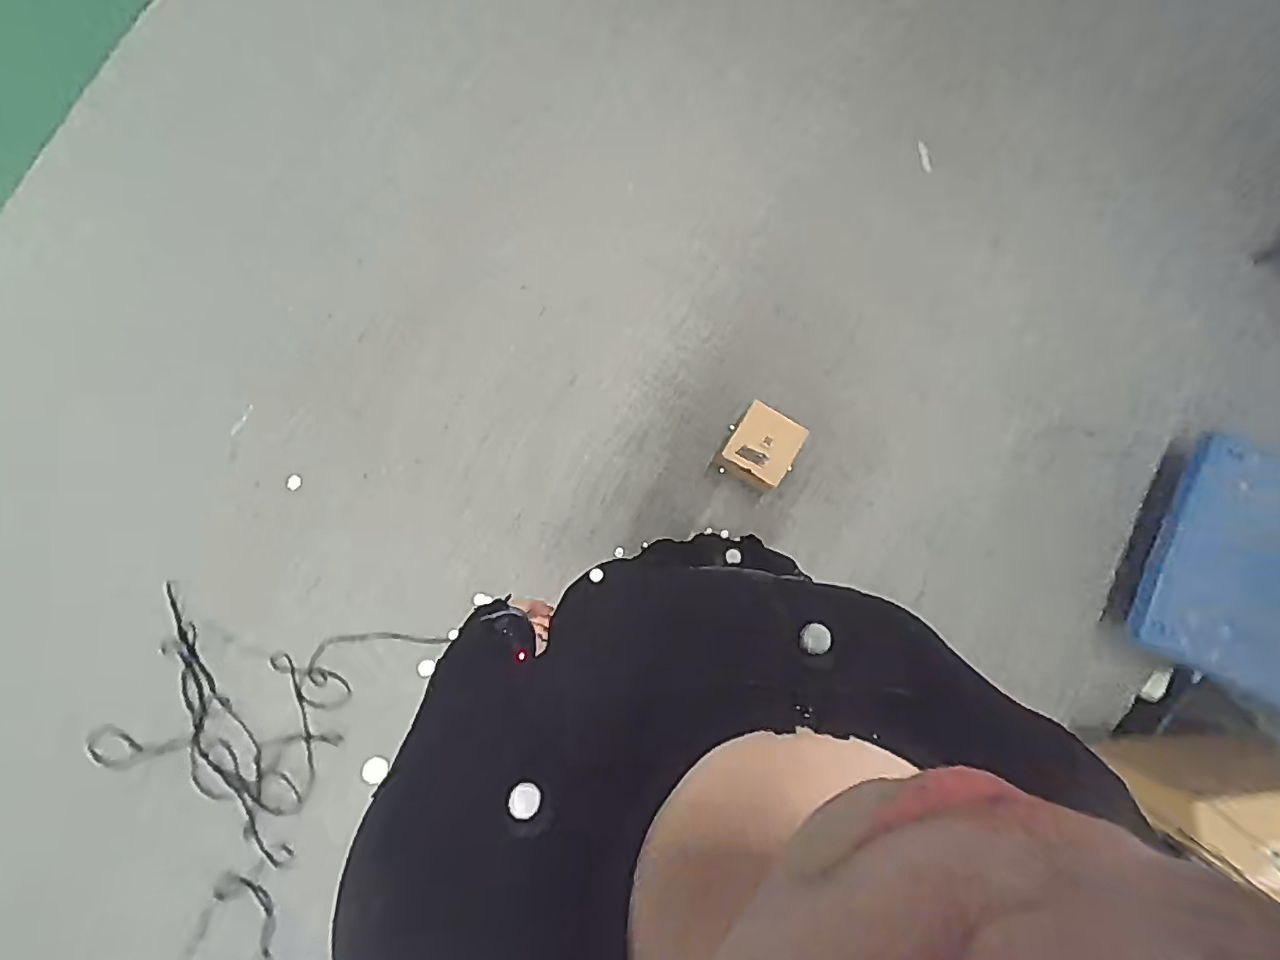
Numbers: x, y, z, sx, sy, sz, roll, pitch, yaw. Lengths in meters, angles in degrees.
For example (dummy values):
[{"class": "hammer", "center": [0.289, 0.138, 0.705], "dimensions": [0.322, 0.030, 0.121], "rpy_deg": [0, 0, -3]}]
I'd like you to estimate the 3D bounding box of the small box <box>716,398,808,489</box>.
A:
[{"class": "small box", "center": [0.318, -0.088, 1.454], "dimensions": [0.168, 0.176, 0.179], "rpy_deg": [33, 85, 3]}]
